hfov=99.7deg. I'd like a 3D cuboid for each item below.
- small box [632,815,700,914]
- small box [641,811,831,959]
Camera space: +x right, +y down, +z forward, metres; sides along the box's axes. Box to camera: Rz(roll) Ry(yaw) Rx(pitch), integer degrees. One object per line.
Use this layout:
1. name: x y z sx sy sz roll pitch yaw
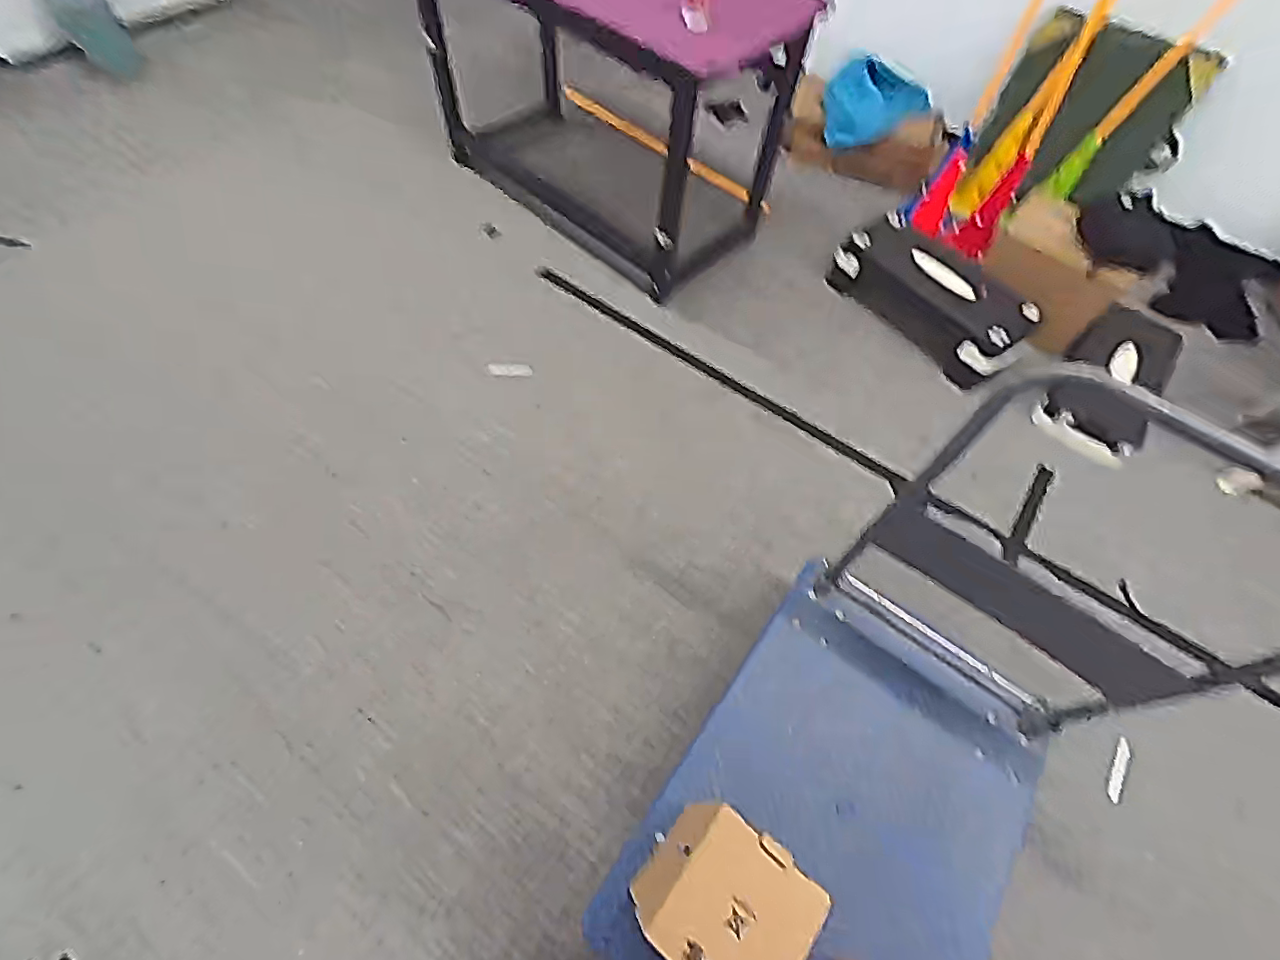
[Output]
1. small box: 0.105 0.664 0.861 0.179 0.176 0.168 39 63 18
2. small box: 0.115 0.576 0.721 0.168 0.176 0.179 37 62 16
